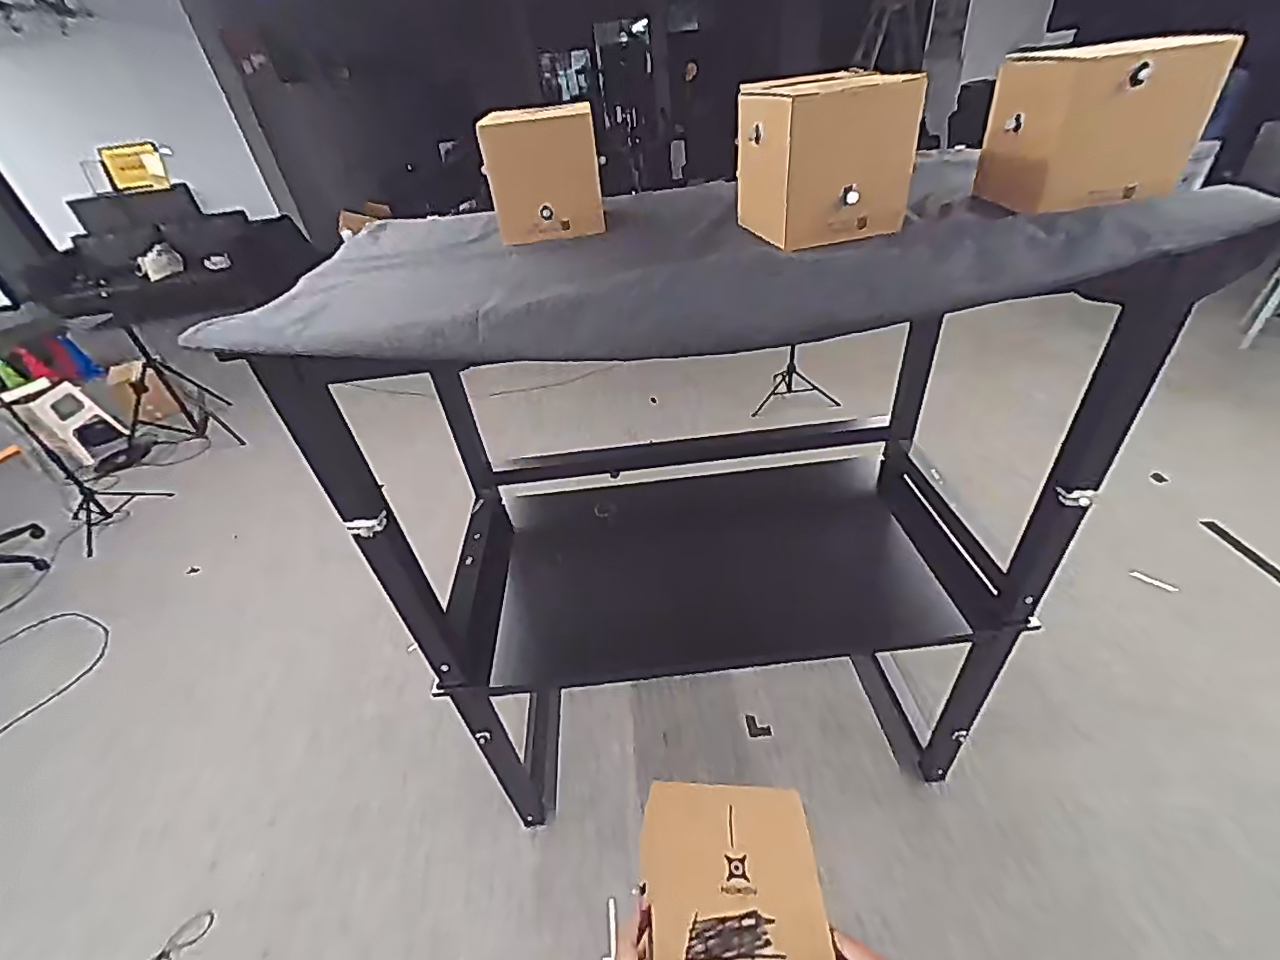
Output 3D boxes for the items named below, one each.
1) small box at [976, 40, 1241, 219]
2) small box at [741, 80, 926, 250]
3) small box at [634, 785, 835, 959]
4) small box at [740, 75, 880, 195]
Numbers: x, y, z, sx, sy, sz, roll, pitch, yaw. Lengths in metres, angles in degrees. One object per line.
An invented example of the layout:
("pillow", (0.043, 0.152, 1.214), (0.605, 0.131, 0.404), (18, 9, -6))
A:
("small box", (0.573, -0.447, 0.699), (0.168, 0.176, 0.179), (-5, 36, 4))
("small box", (0.238, -0.420, 0.721), (0.168, 0.176, 0.179), (-12, 38, -6))
("small box", (0.084, 0.451, 0.563), (0.168, 0.176, 0.179), (5, 35, -3))
("small box", (0.266, -0.555, 0.893), (0.179, 0.176, 0.168), (-6, 37, 2))
